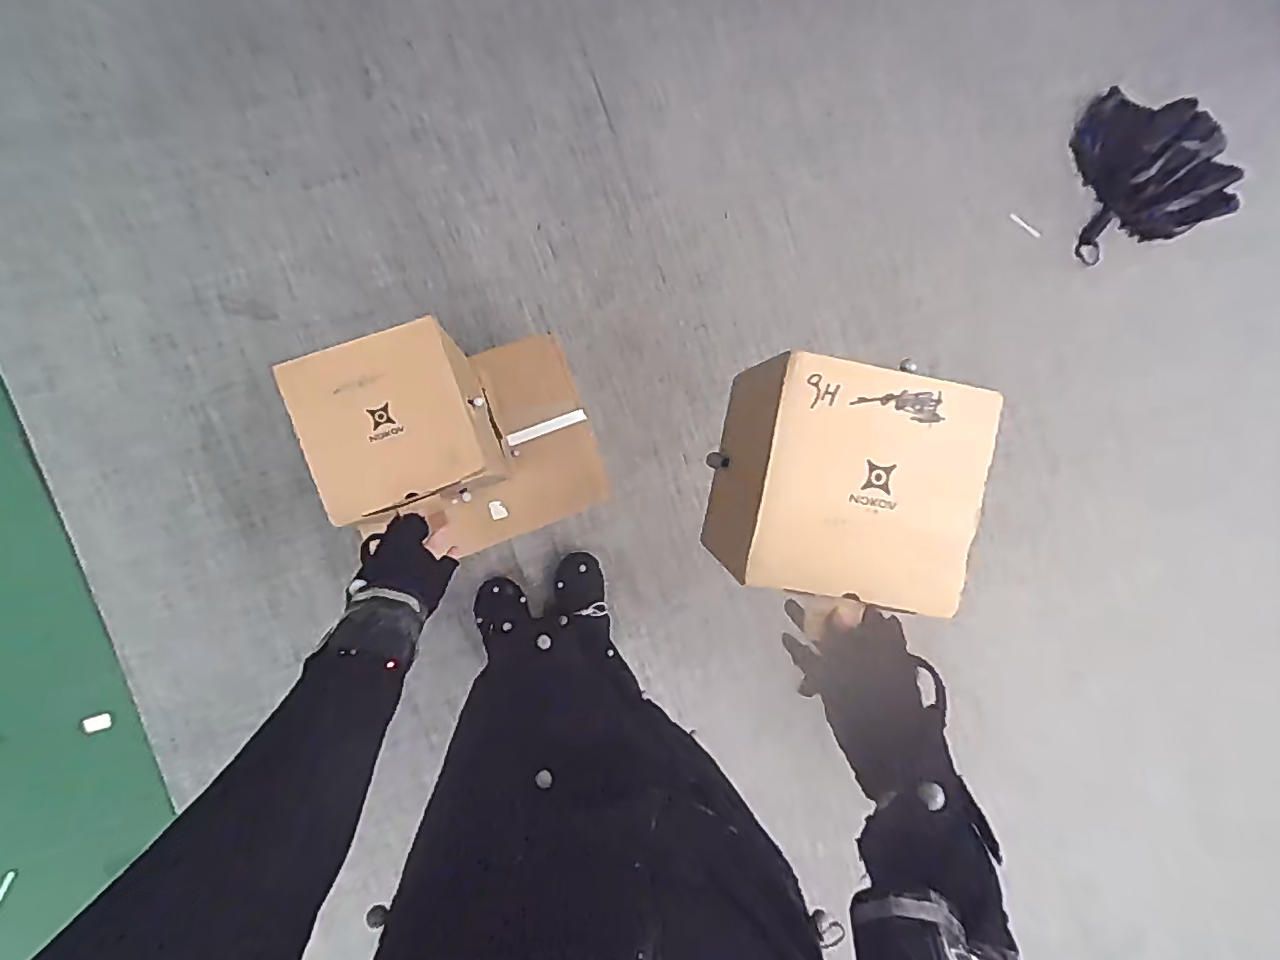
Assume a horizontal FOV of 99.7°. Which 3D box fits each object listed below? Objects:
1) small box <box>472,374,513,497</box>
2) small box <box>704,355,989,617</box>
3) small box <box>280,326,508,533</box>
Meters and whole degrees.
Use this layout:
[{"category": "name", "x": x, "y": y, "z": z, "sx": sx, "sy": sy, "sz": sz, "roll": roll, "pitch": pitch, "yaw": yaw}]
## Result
[{"category": "small box", "x": -0.293, "y": -0.054, "z": 0.806, "sx": 0.179, "sy": 0.176, "sz": 0.168, "roll": -14, "pitch": 96, "yaw": -9}, {"category": "small box", "x": 0.161, "y": 0.001, "z": 0.482, "sx": 0.168, "sy": 0.176, "sz": 0.179, "roll": 10, "pitch": 94, "yaw": -5}, {"category": "small box", "x": -0.267, "y": -0.051, "z": 0.633, "sx": 0.168, "sy": 0.176, "sz": 0.179, "roll": -20, "pitch": 89, "yaw": -7}]
